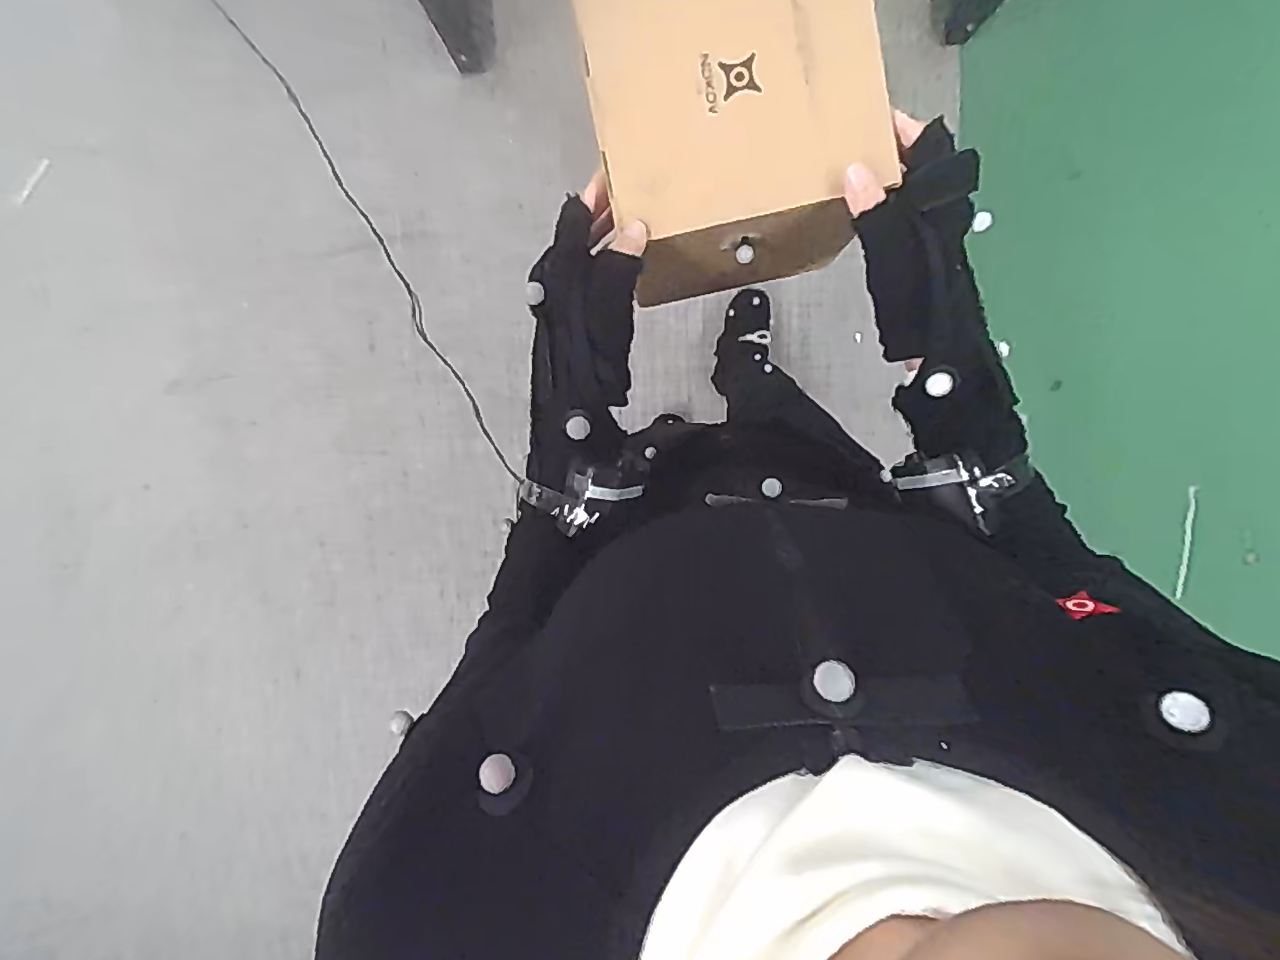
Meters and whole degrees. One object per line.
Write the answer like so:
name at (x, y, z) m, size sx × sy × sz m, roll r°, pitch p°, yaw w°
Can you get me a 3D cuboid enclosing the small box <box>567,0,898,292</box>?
small box at (0.059, -0.254, 0.402) m, size 0.179 × 0.176 × 0.168 m, roll -12°, pitch 95°, yaw 4°
